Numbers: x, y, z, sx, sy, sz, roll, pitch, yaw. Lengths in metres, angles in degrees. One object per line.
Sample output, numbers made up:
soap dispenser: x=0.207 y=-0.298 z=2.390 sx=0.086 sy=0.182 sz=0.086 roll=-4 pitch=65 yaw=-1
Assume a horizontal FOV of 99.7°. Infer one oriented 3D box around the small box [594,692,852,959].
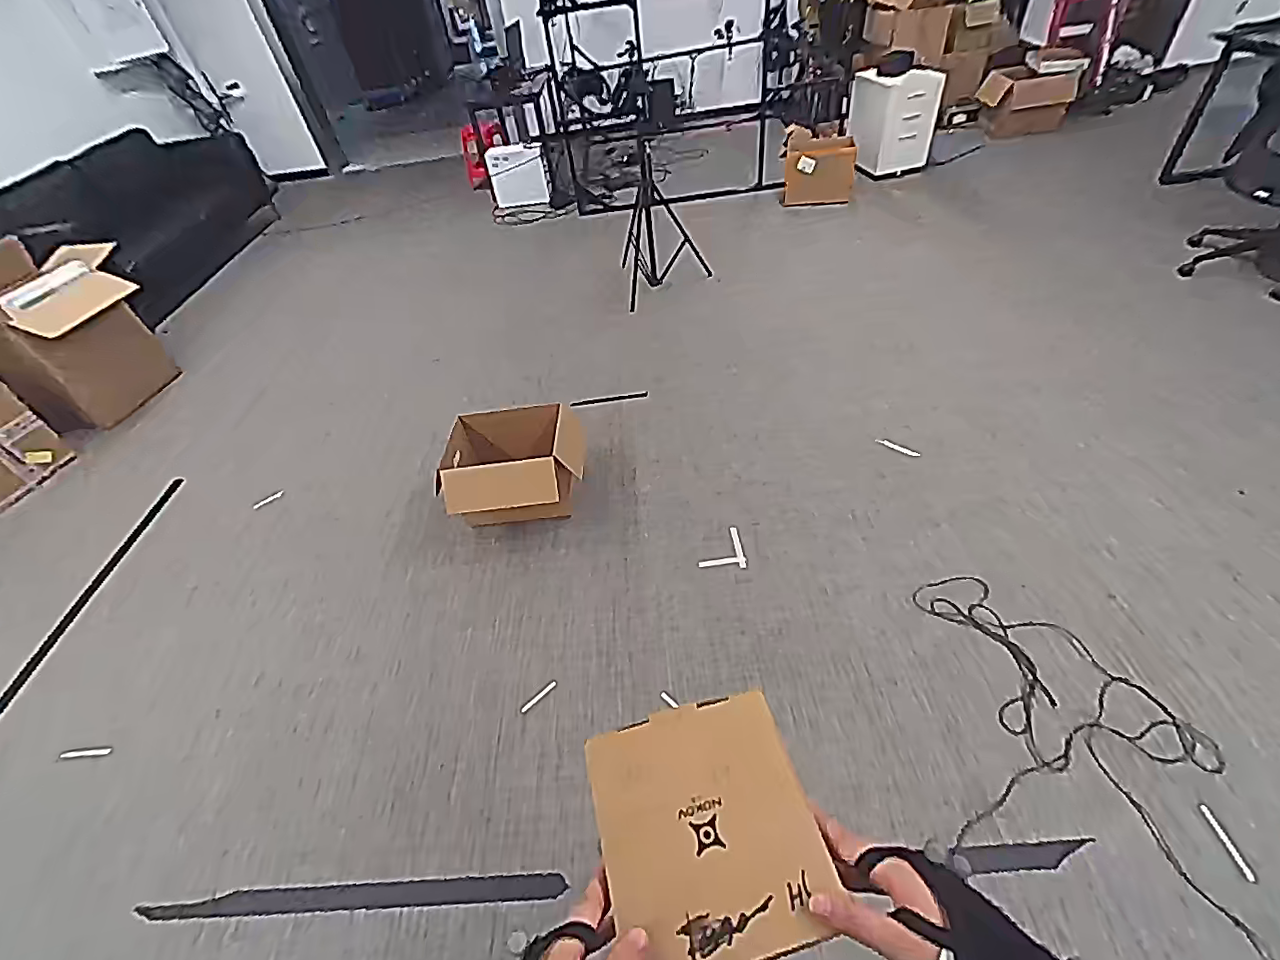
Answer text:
small box: x=0.061 y=0.327 z=0.492 sx=0.168 sy=0.176 sz=0.179 roll=-14 pitch=47 yaw=-5
